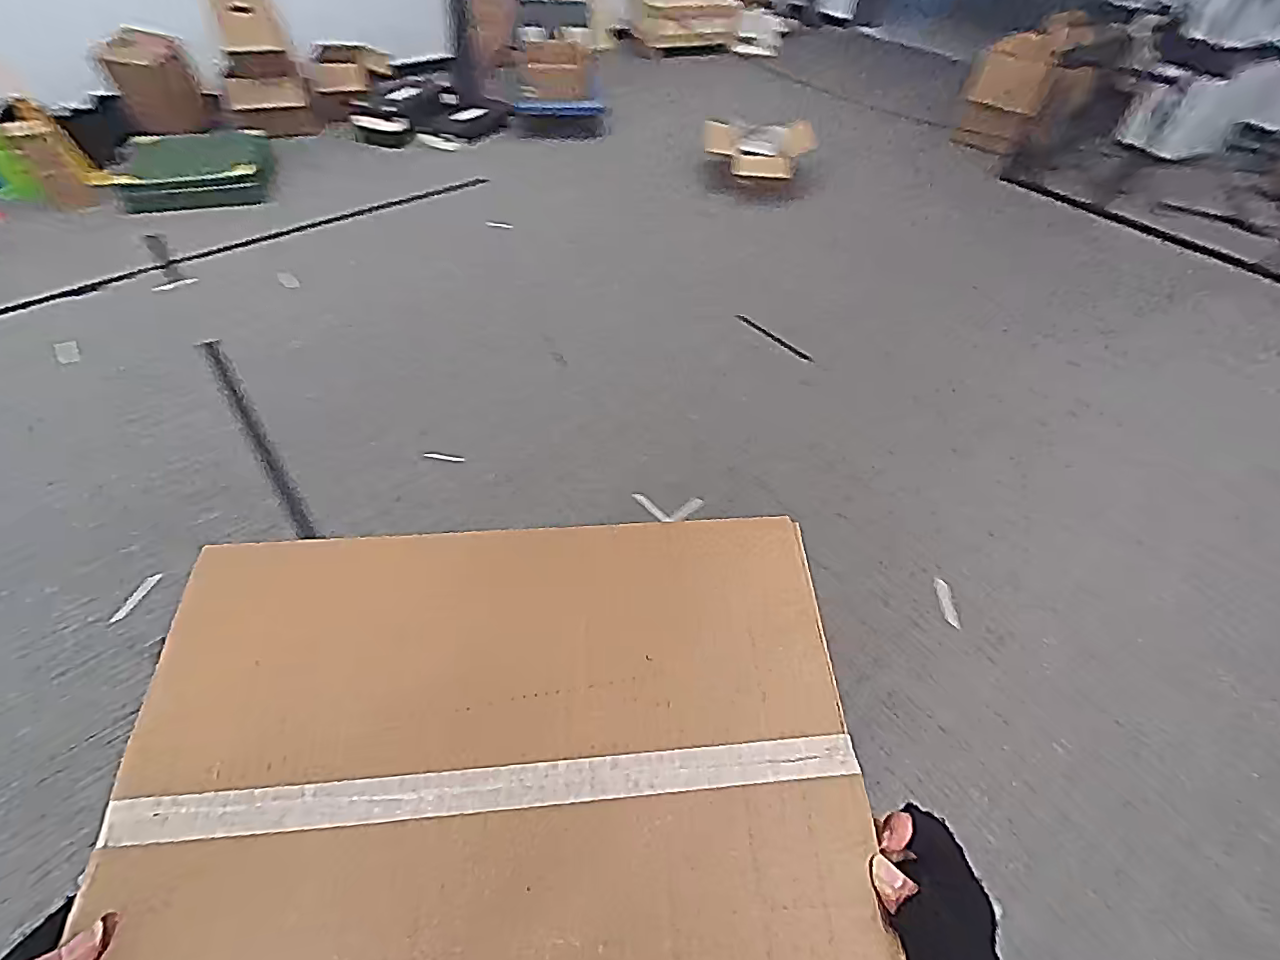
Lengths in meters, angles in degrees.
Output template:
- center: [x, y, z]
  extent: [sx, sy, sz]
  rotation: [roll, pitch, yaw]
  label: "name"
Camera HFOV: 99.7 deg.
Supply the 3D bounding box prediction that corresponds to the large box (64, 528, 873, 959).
- center: [-0.092, 0.256, 0.434]
  extent: [0.408, 0.320, 0.320]
  rotation: [-4, 59, -5]
  label: "large box"
